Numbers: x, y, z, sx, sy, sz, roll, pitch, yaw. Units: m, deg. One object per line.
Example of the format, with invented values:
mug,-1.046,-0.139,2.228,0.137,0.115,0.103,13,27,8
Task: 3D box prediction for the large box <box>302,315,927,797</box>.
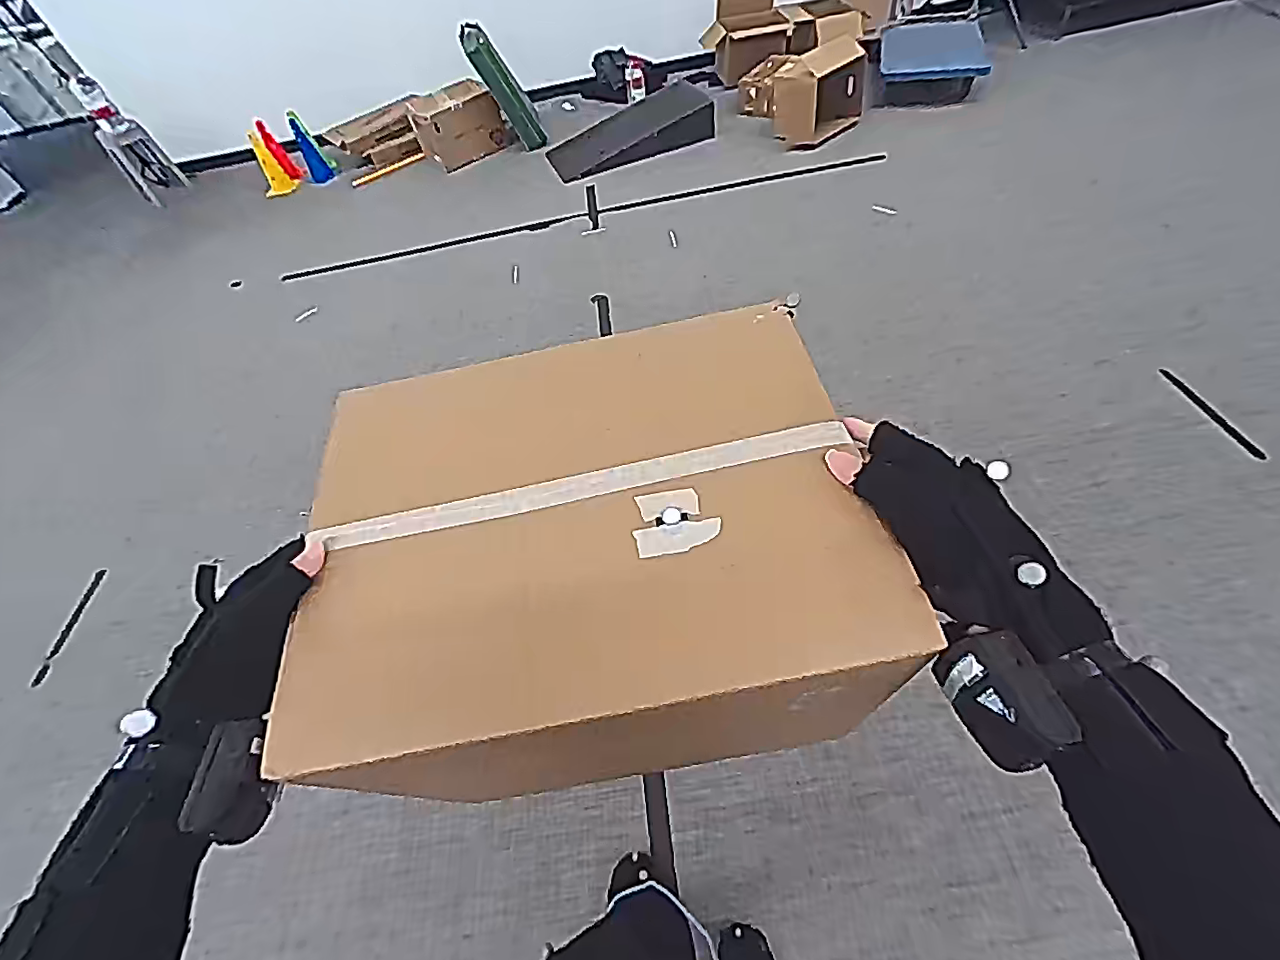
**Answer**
large box,-0.023,0.093,0.536,0.408,0.320,0.320,-11,57,1
